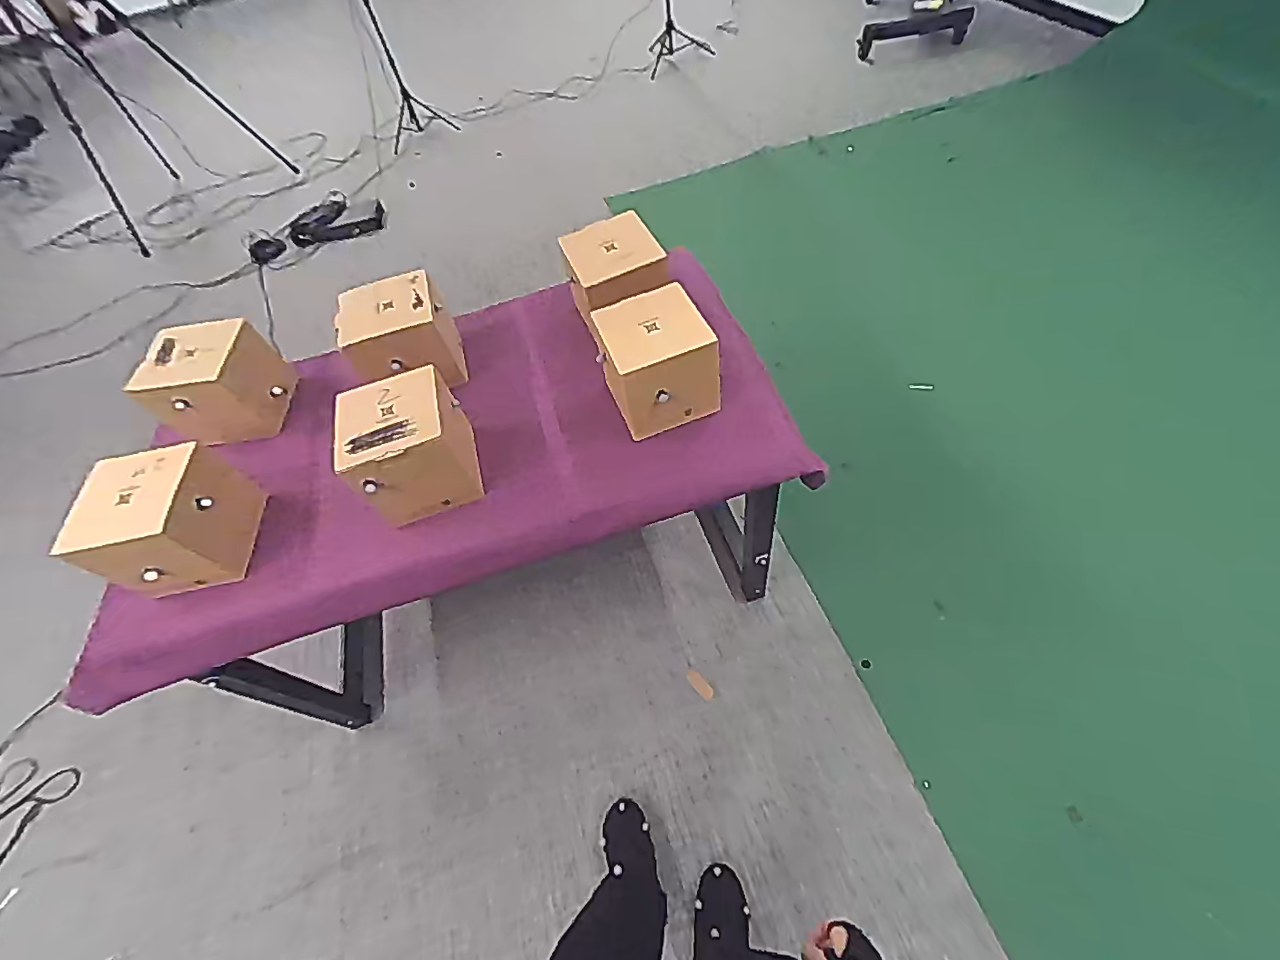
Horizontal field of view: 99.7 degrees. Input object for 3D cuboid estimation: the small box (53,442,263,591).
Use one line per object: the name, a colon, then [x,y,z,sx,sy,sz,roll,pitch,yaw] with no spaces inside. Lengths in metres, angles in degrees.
small box: [-0.758,0.068,0.878,0.168,0.176,0.179,-11,56,0]

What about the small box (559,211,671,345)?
small box: [-0.044,-0.394,1.081,0.168,0.176,0.179,-23,58,-5]

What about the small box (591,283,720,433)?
small box: [0.033,-0.203,0.940,0.168,0.176,0.179,-21,53,-5]

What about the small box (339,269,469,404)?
small box: [-0.461,-0.276,1.065,0.179,0.176,0.168,-19,58,-3]

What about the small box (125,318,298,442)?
small box: [-0.821,-0.189,1.058,0.179,0.176,0.168,-7,57,2]
